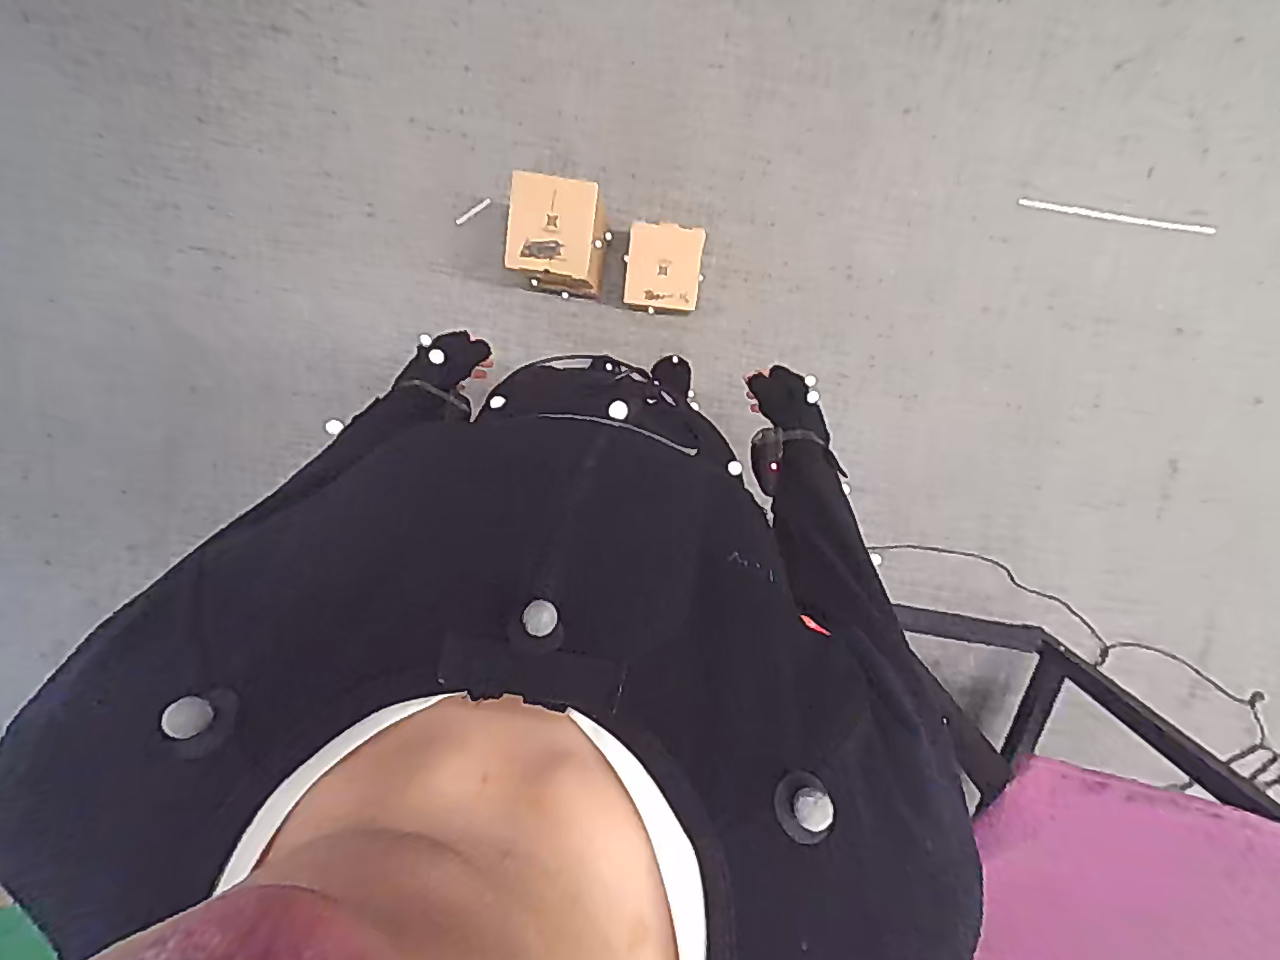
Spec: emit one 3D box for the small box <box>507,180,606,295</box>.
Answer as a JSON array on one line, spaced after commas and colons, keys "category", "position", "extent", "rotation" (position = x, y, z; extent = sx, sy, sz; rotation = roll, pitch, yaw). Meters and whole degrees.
[{"category": "small box", "position": [-0.166, -0.487, 1.113], "extent": [0.168, 0.176, 0.179], "rotation": [8, 103, -1]}]
